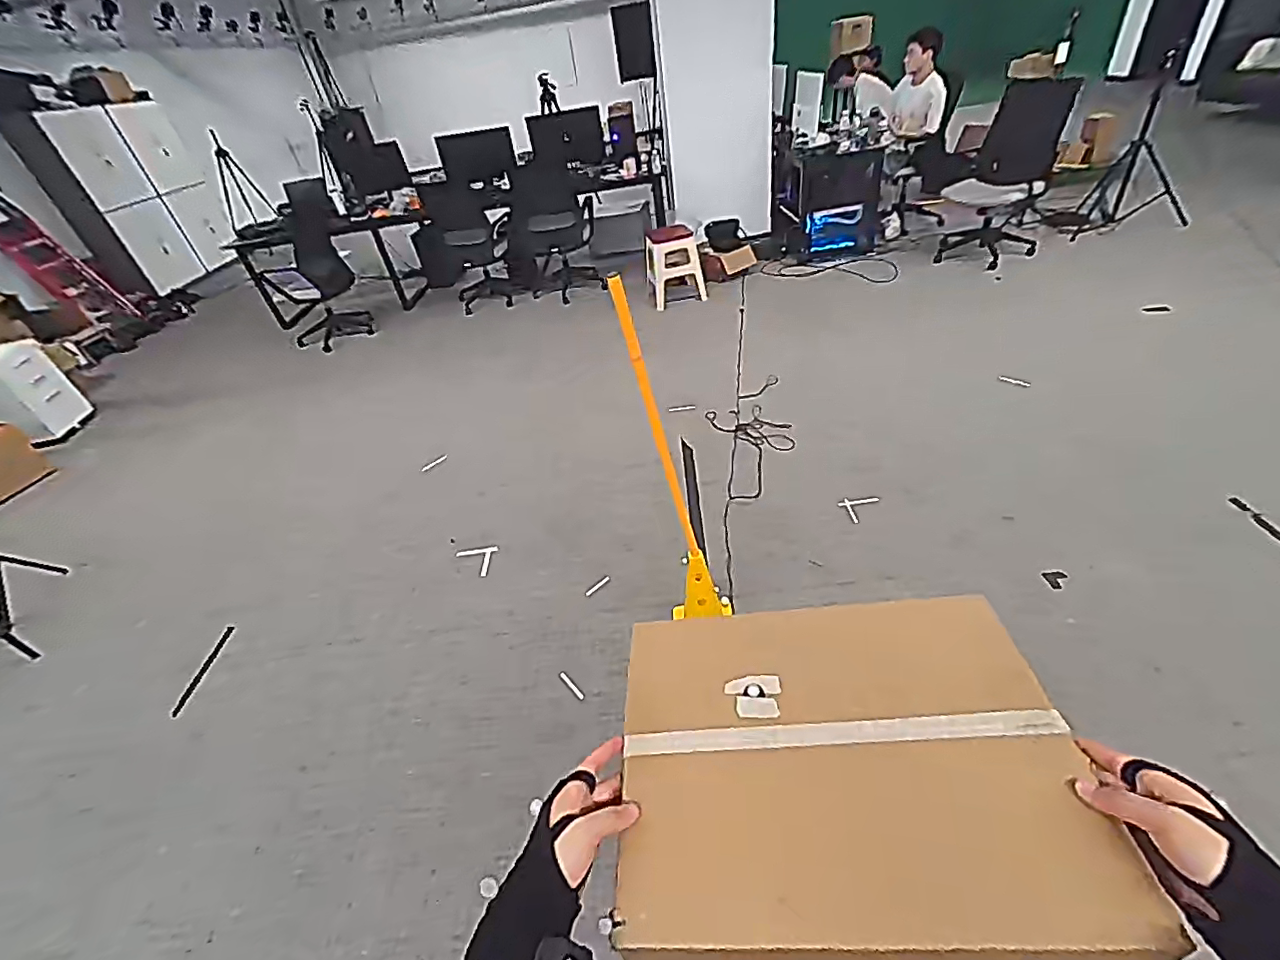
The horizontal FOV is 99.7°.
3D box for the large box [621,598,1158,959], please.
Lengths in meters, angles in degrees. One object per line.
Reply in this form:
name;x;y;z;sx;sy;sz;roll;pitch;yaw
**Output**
large box;0.213;0.372;0.615;0.408;0.320;0.320;-8;35;8
